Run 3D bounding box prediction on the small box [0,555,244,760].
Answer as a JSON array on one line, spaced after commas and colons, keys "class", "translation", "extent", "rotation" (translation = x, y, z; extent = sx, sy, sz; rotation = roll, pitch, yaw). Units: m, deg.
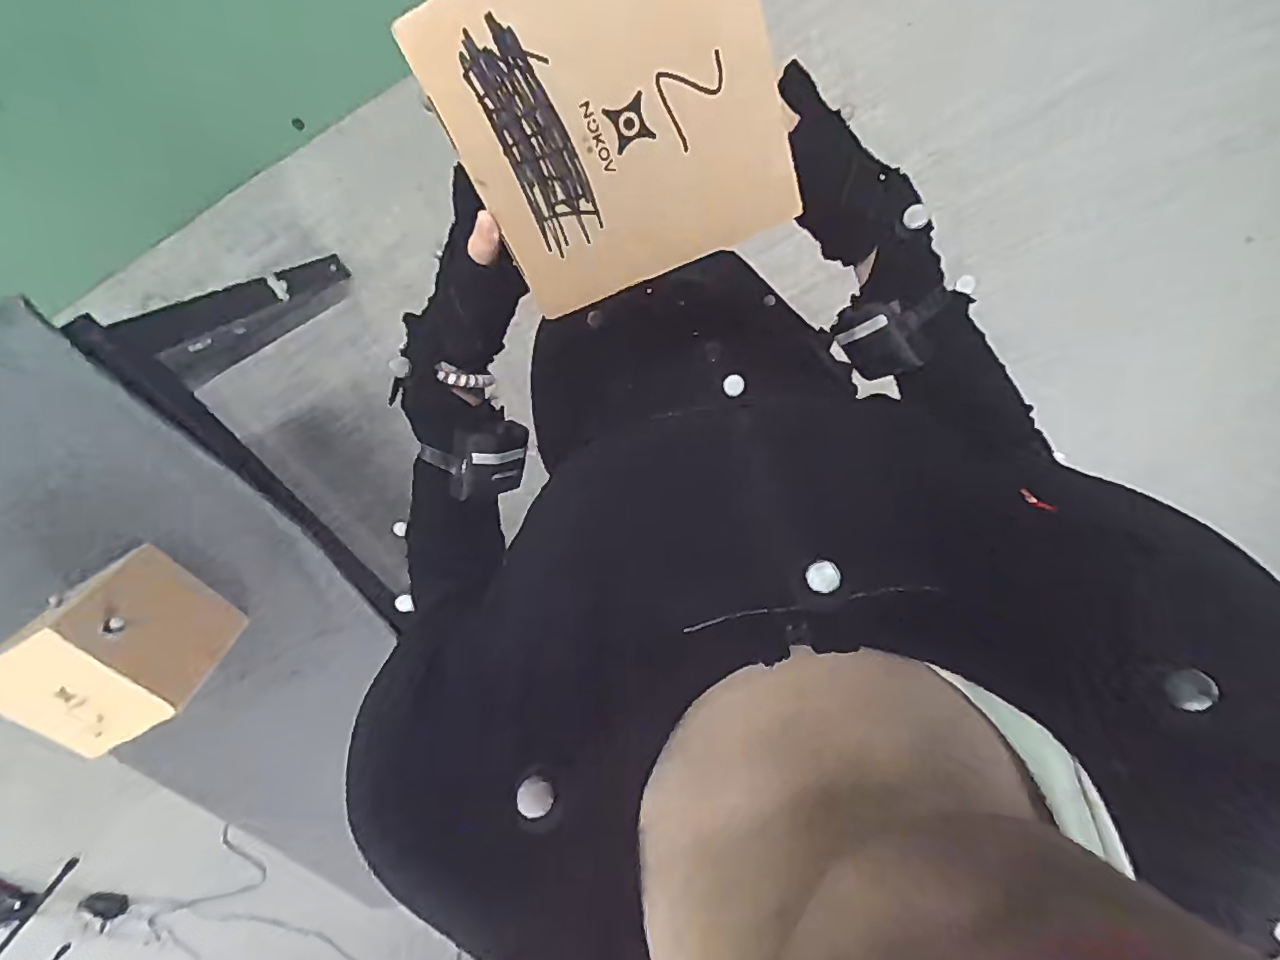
[{"class": "small box", "translation": [-0.692, 0.223, 0.717], "extent": [0.168, 0.176, 0.179], "rotation": [-28, 118, 10]}]
